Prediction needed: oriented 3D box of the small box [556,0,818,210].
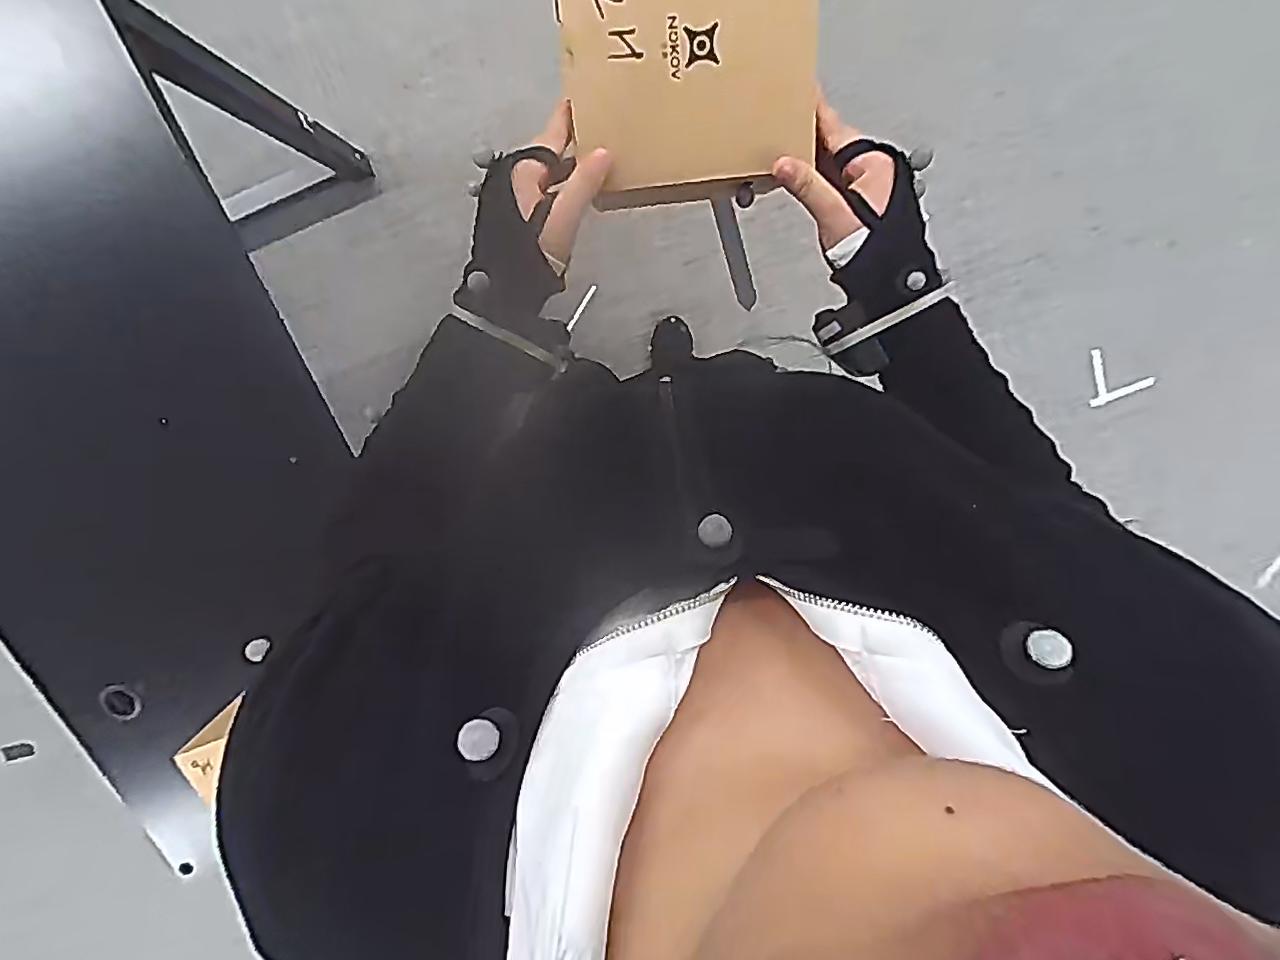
[{"bbox_3d":[0.033,-0.323,0.441,0.179,0.176,0.168,-5,112,3],"label":"small box"}]
